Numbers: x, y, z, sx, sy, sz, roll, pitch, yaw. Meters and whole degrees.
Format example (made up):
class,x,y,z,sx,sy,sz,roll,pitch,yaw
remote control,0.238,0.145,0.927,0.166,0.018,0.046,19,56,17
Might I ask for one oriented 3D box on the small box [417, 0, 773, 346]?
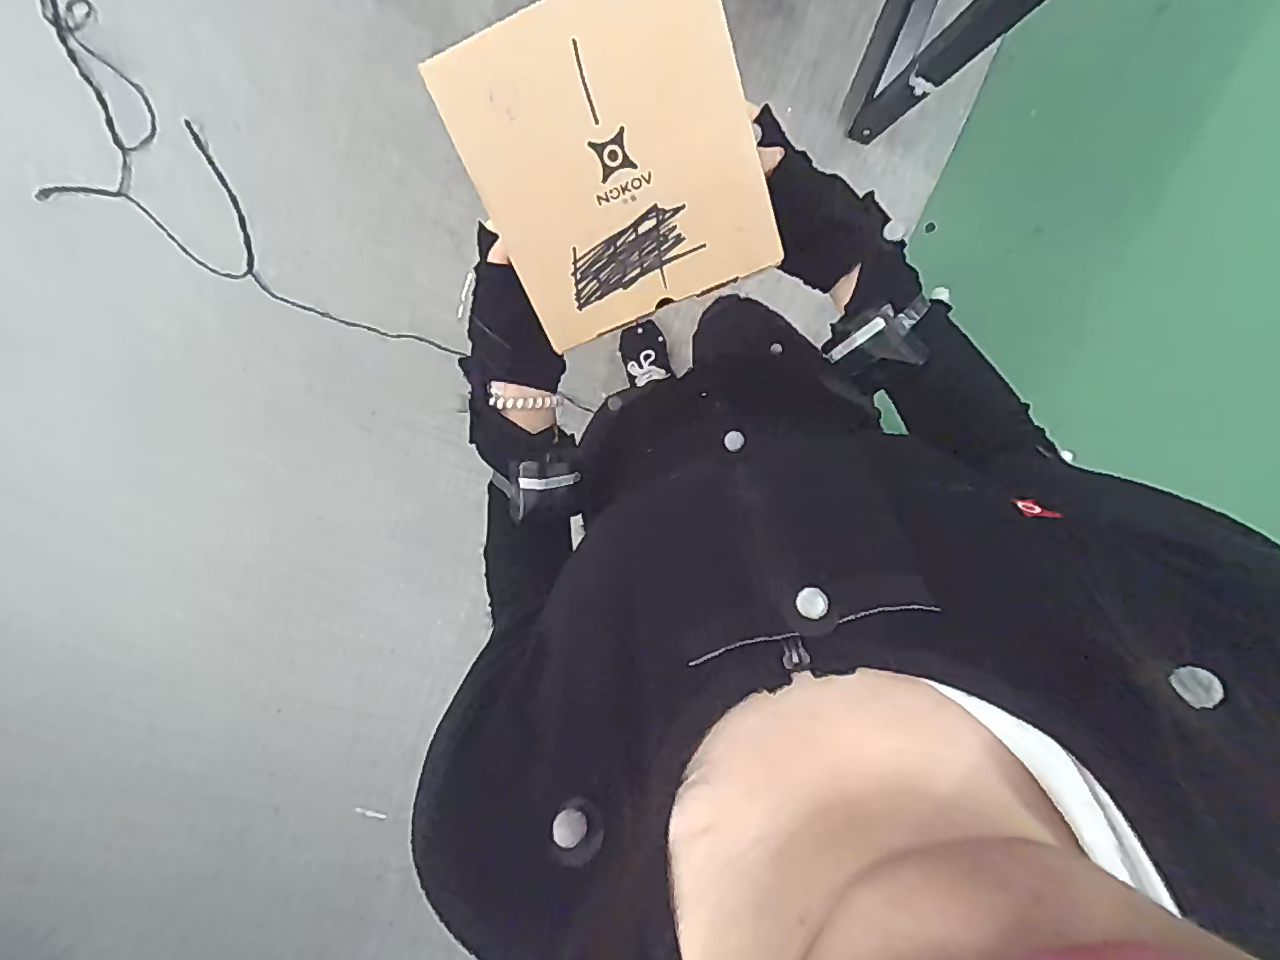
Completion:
class,x,y,z,sx,sy,sz,roll,pitch,yaw
small box,-0.019,-0.226,0.392,0.168,0.176,0.179,-19,118,9
